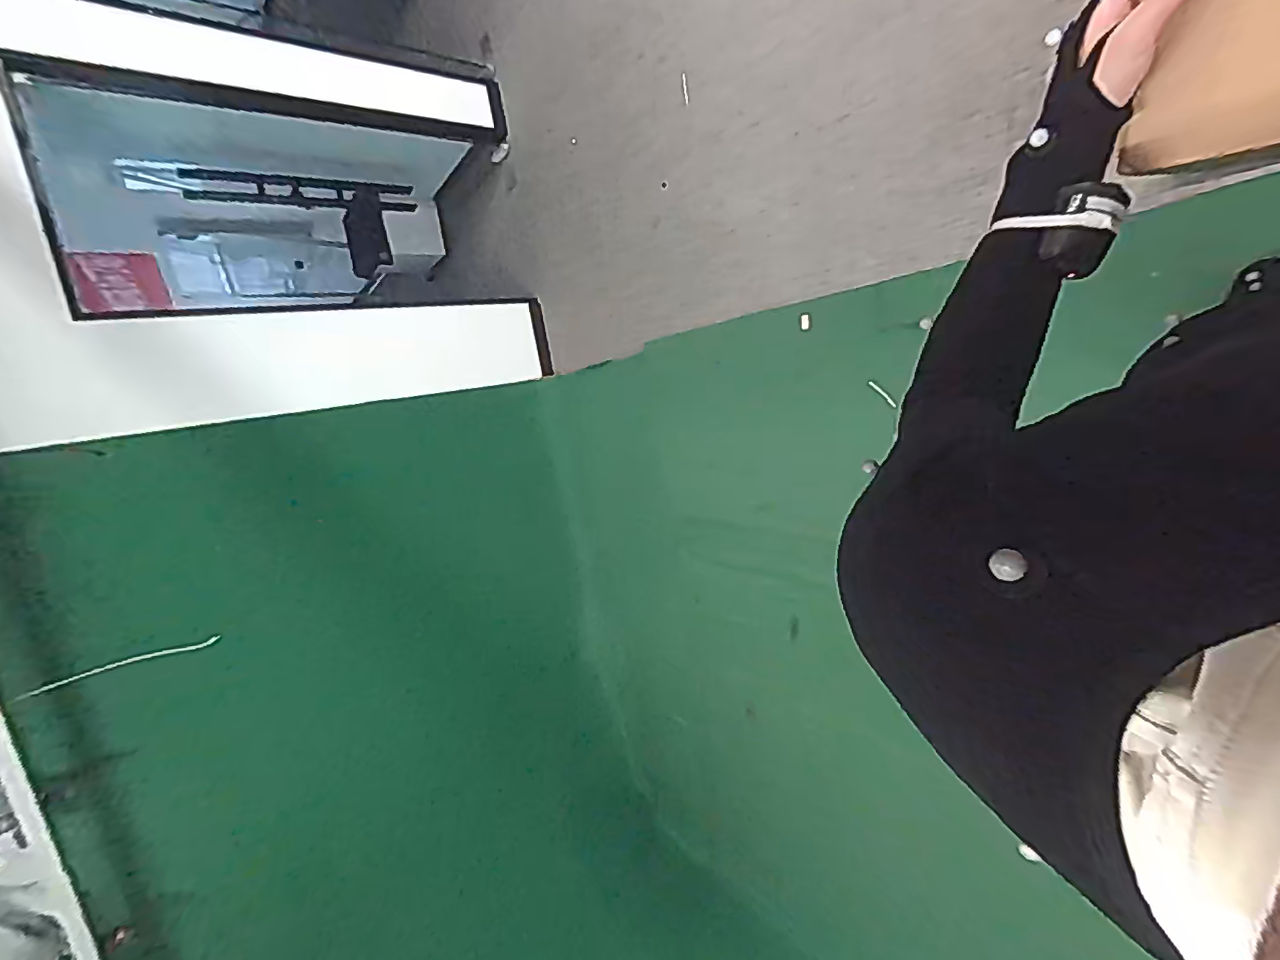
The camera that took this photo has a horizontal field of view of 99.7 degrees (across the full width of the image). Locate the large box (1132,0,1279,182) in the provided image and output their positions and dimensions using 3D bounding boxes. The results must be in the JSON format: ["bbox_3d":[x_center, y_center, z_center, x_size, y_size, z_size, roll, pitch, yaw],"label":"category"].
[{"bbox_3d":[0.622,-0.414,0.342,0.408,0.320,0.320,13,119,50],"label":"large box"}]
